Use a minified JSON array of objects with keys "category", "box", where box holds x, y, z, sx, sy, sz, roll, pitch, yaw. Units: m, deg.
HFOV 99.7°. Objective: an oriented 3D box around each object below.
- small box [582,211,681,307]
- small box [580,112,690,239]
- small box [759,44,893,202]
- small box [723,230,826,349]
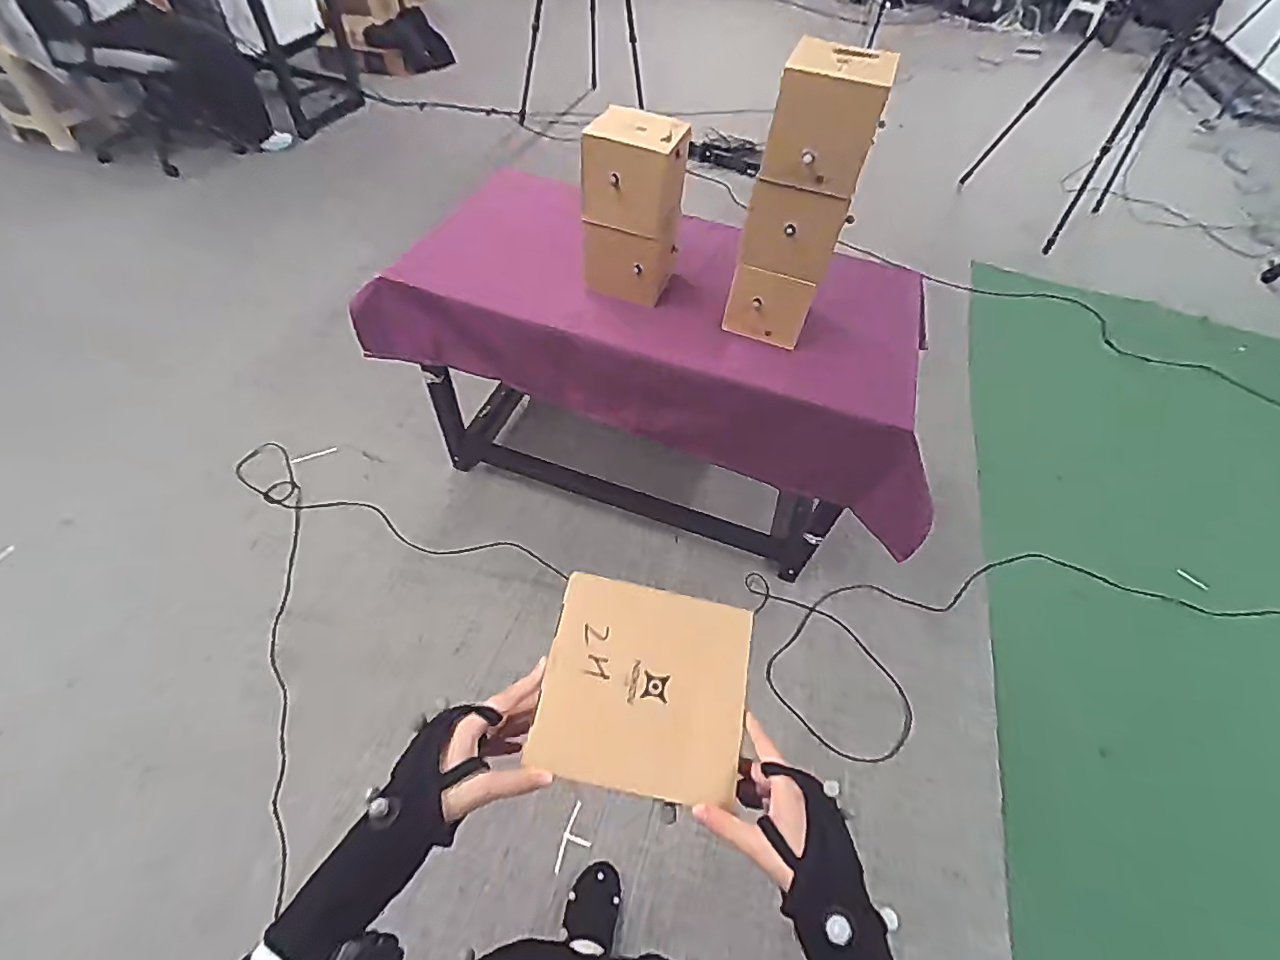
[{"category":"small box","box":[-0.022,-0.524,1.245,0.179,0.176,0.168,18,53,8]},{"category":"small box","box":[-0.013,-0.623,1.114,0.179,0.176,0.168,19,53,8]},{"category":"small box","box":[0.315,-0.615,0.935,0.168,0.176,0.179,18,53,9]},{"category":"small box","box":[0.292,-0.418,1.197,0.168,0.176,0.179,20,53,9]}]
